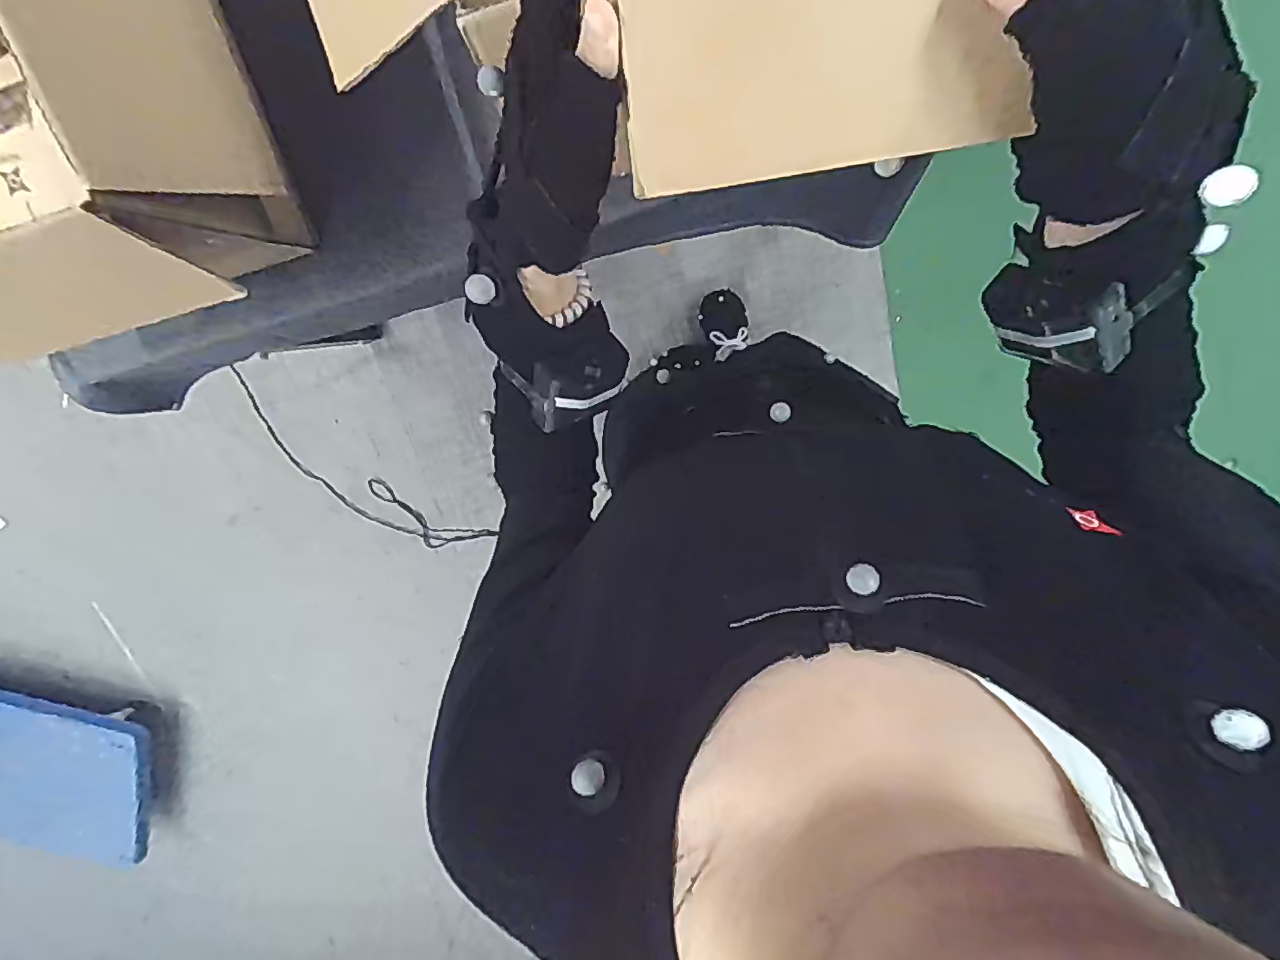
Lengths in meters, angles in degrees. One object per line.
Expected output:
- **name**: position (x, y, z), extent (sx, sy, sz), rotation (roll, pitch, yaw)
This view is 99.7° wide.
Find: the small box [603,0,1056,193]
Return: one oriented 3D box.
- **small box**: position (0.069, -0.255, 0.252), extent (0.179, 0.176, 0.168), rotation (-7, 131, 3)
